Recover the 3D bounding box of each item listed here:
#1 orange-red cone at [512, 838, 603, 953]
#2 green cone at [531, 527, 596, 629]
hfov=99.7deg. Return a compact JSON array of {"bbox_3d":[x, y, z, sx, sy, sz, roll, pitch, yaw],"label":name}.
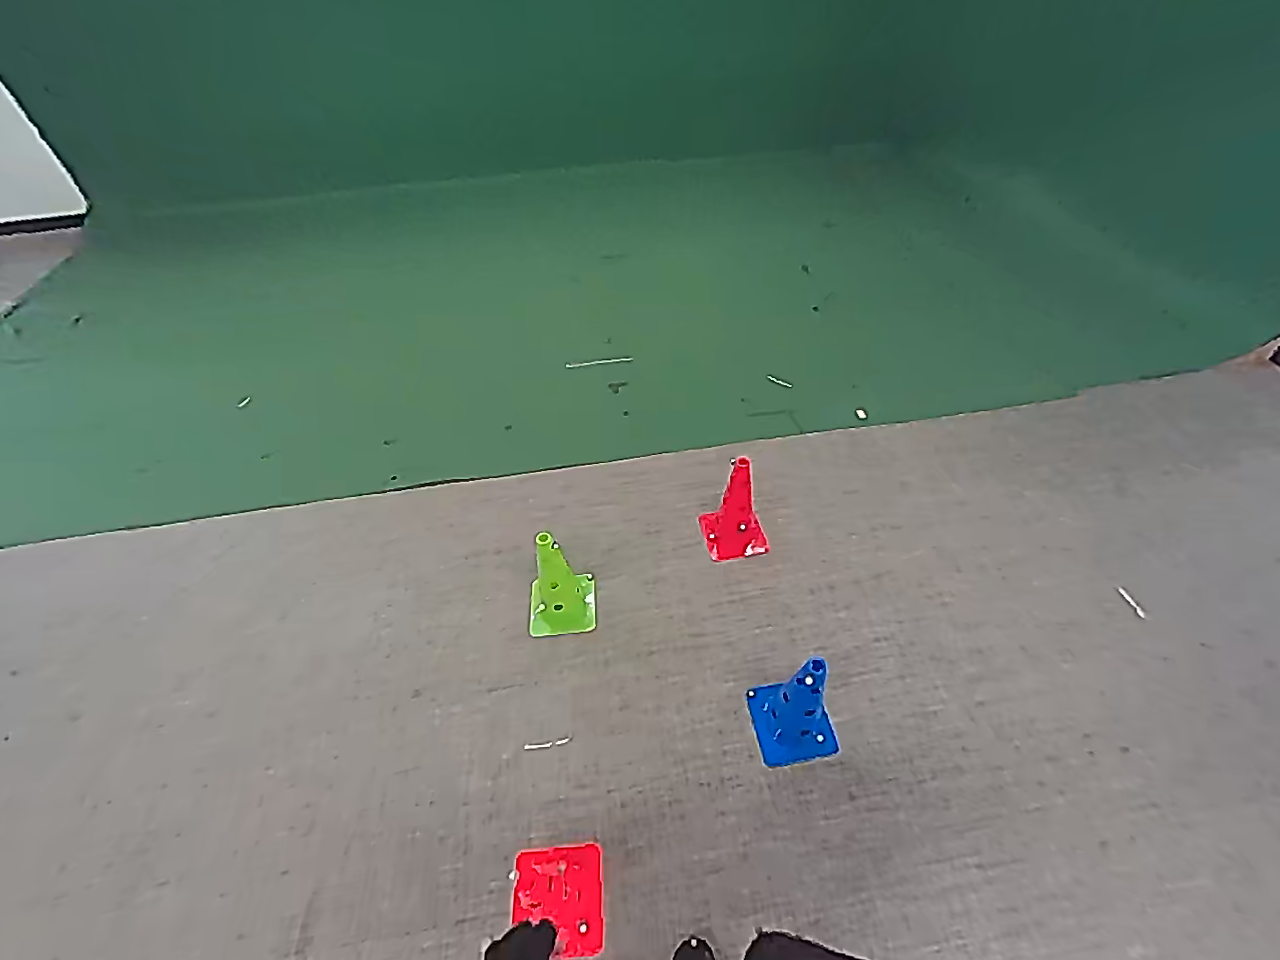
[{"bbox_3d":[-0.184,0.797,1.072,0.198,0.360,0.199,-4,47,-1],"label":"orange-red cone"},{"bbox_3d":[-0.248,0.253,1.556,0.200,0.368,0.202,-6,49,-2],"label":"green cone"}]
